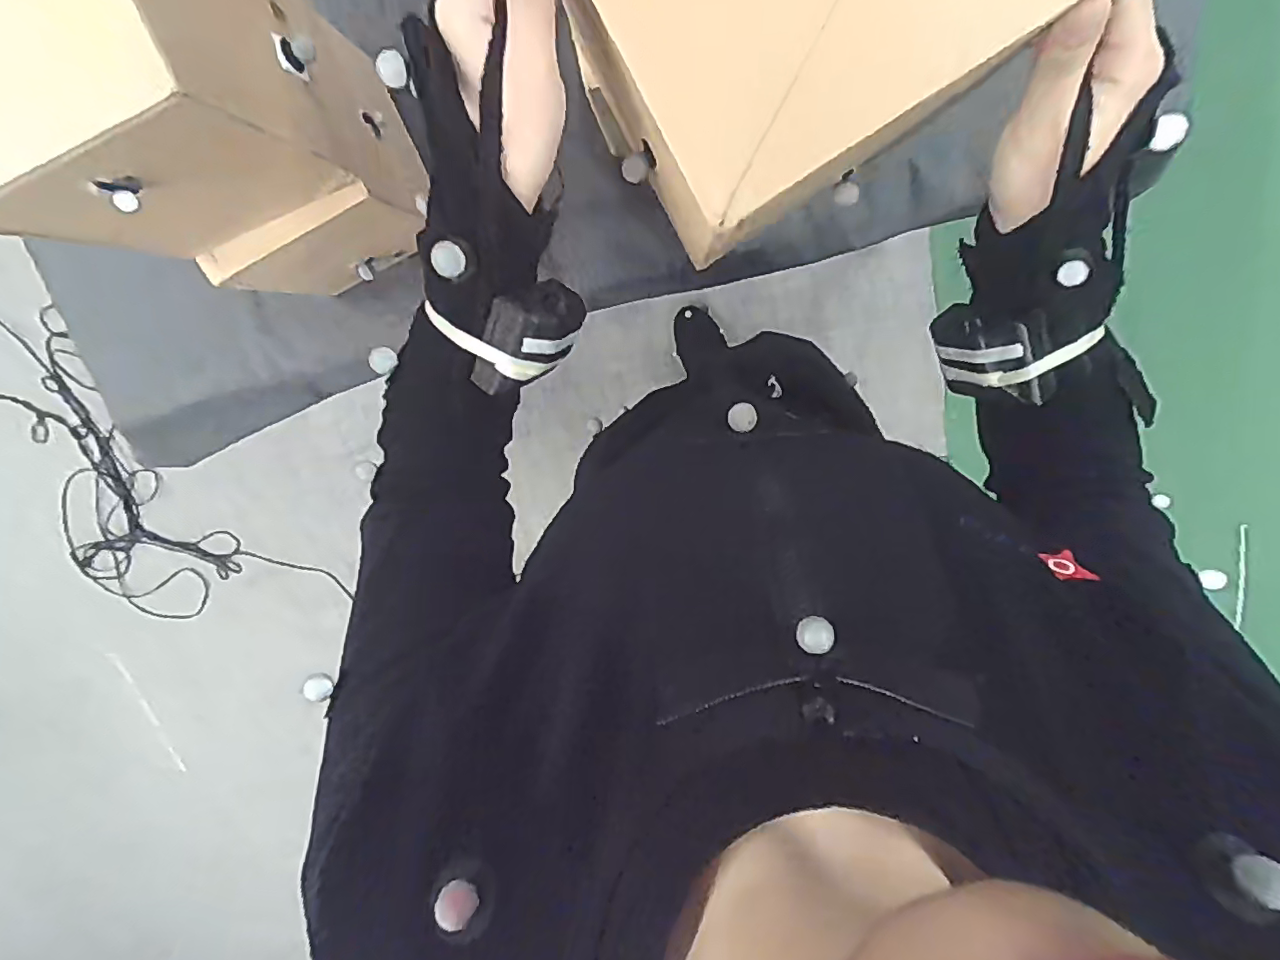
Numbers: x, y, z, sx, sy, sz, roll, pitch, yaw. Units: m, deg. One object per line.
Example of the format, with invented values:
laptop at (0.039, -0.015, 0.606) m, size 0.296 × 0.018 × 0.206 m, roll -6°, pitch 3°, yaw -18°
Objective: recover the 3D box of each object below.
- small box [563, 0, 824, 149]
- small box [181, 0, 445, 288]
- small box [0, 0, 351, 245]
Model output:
small box at (0.029, -0.398, 0.434) m, size 0.179 × 0.176 × 0.168 m, roll -12°, pitch 105°, yaw 7°
small box at (-0.314, -0.292, 0.492) m, size 0.168 × 0.176 × 0.179 m, roll -22°, pitch 104°, yaw 11°
small box at (-0.327, -0.261, 0.332) m, size 0.179 × 0.176 × 0.168 m, roll -18°, pitch 105°, yaw 9°
